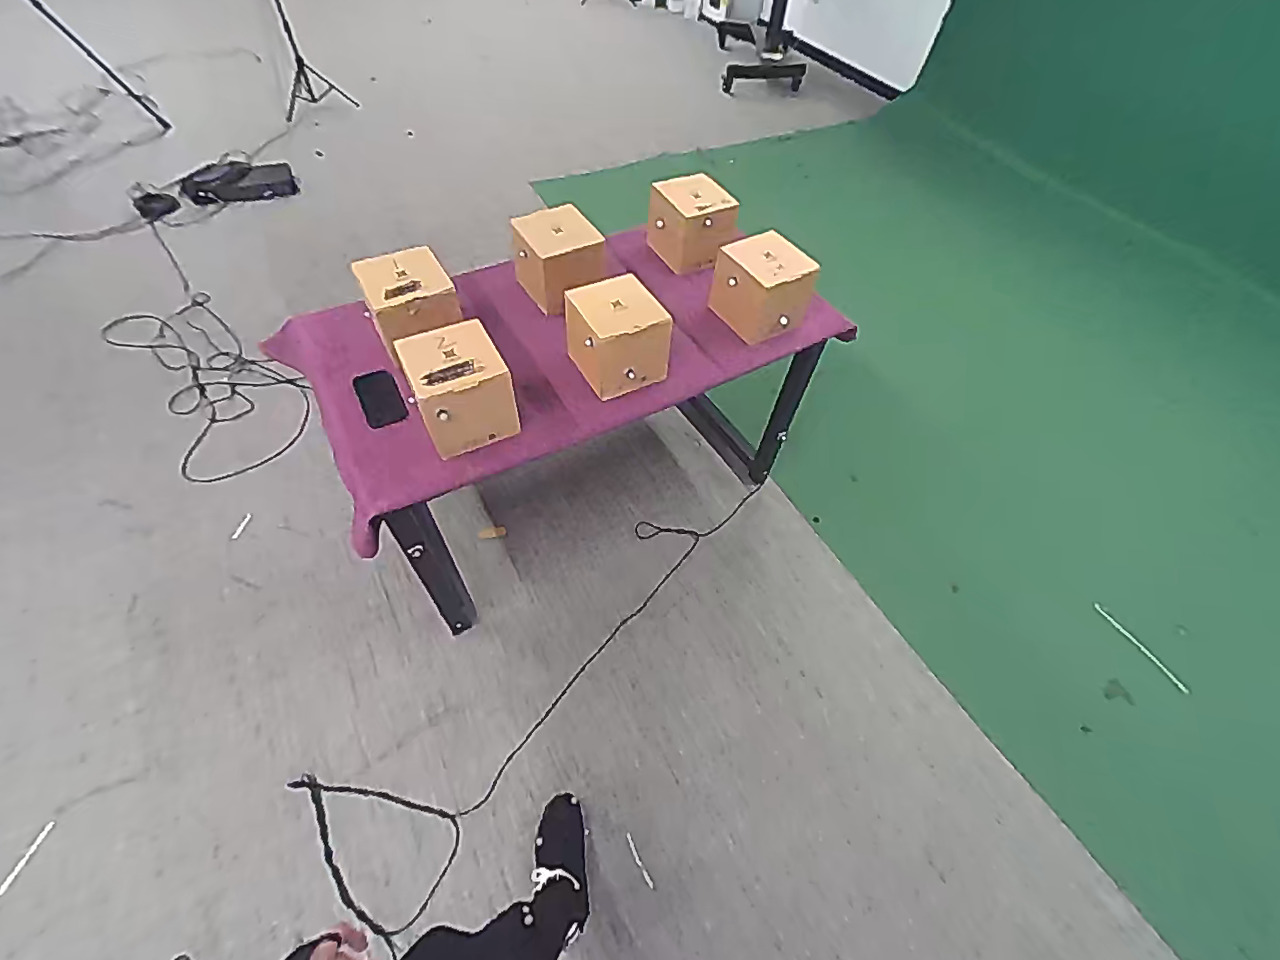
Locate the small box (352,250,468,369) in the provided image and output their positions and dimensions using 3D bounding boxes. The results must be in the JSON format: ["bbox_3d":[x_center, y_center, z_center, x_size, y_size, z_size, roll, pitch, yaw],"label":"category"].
[{"bbox_3d":[-0.498,-0.366,1.188,0.168,0.176,0.179,-25,60,-20],"label":"small box"}]

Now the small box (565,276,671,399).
[{"bbox_3d":[-0.052,-0.307,1.175,0.168,0.176,0.179,-23,59,-19],"label":"small box"}]

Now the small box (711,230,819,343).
[{"bbox_3d":[0.290,-0.464,1.303,0.168,0.176,0.179,-26,61,-19],"label":"small box"}]

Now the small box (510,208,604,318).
[{"bbox_3d":[-0.201,-0.530,1.325,0.168,0.176,0.179,-26,61,-19],"label":"small box"}]

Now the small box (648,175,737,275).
[{"bbox_3d":[0.132,-0.684,1.453,0.168,0.176,0.179,-24,59,-18],"label":"small box"}]
